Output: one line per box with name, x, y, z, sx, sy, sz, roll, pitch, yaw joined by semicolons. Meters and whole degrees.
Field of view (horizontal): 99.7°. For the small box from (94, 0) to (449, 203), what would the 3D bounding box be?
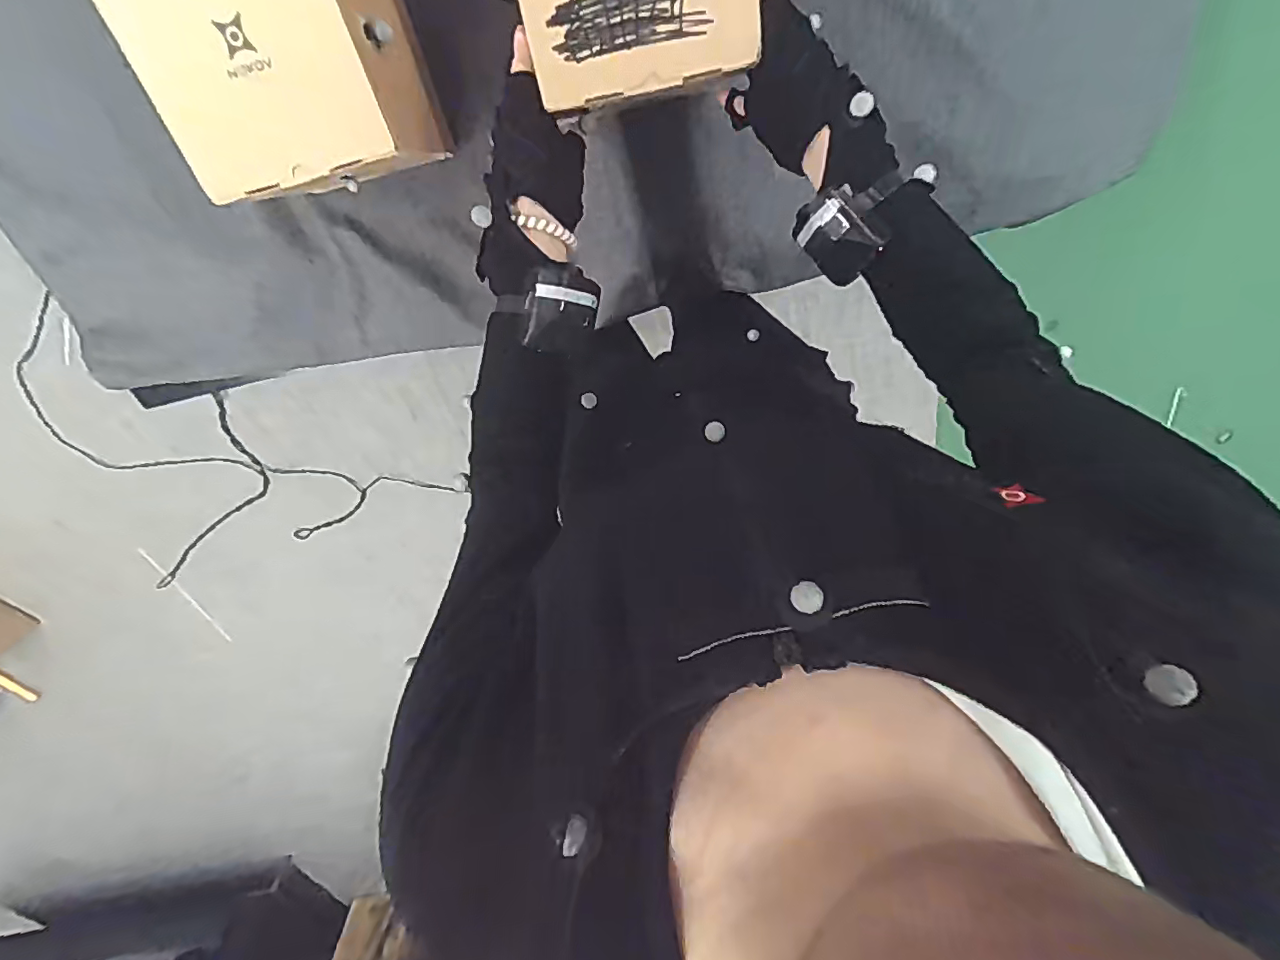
small box;-0.289;-0.352;0.457;0.168;0.176;0.179;-12;122;6
